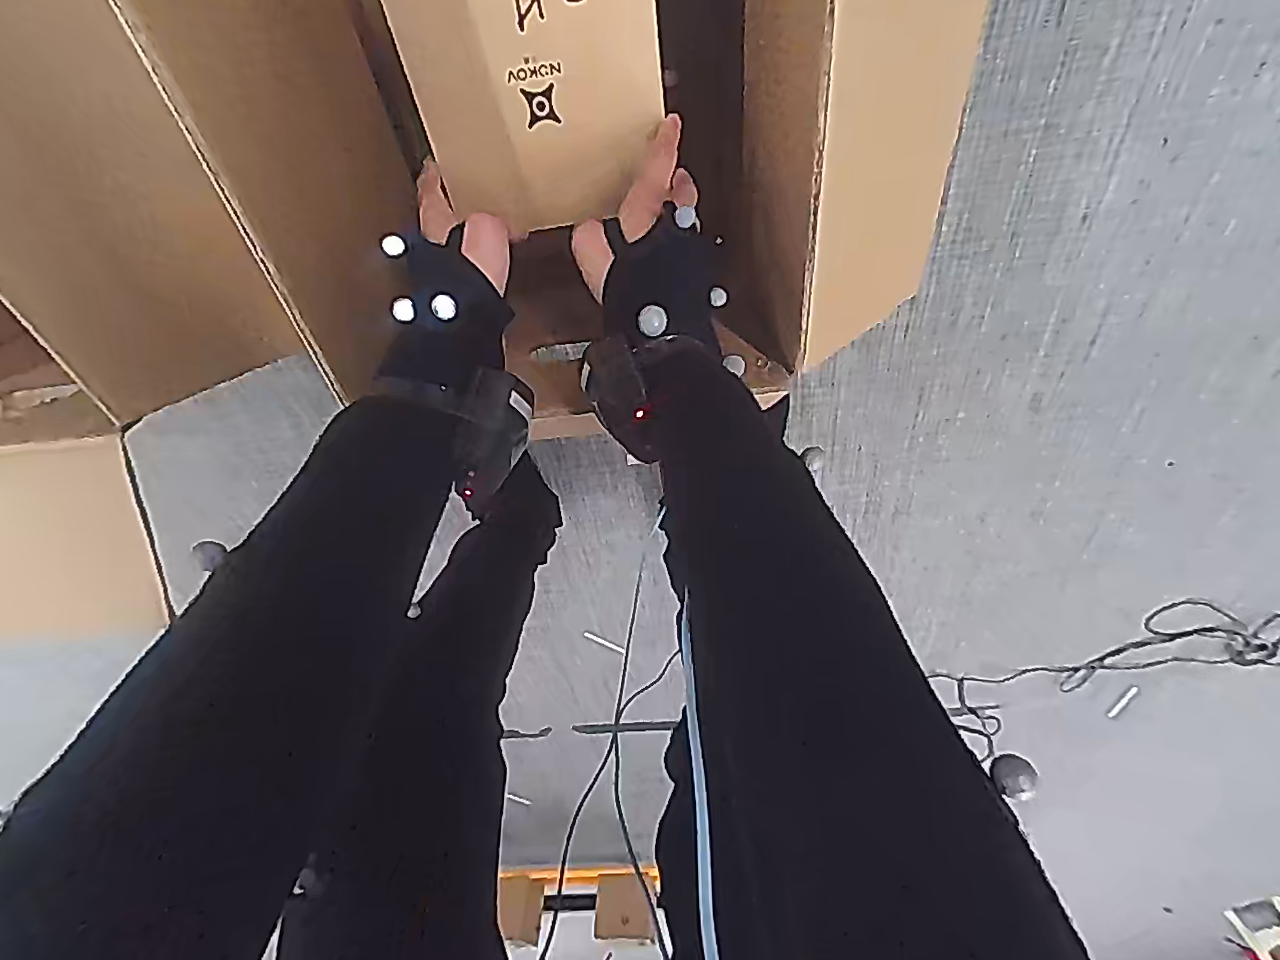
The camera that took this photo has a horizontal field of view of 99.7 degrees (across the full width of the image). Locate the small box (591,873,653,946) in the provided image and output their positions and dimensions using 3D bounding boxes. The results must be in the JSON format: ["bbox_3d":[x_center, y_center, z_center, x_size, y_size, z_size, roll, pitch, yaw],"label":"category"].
[{"bbox_3d":[-0.054,1.422,1.790,0.179,0.176,0.168,-6,131,9],"label":"small box"}]
